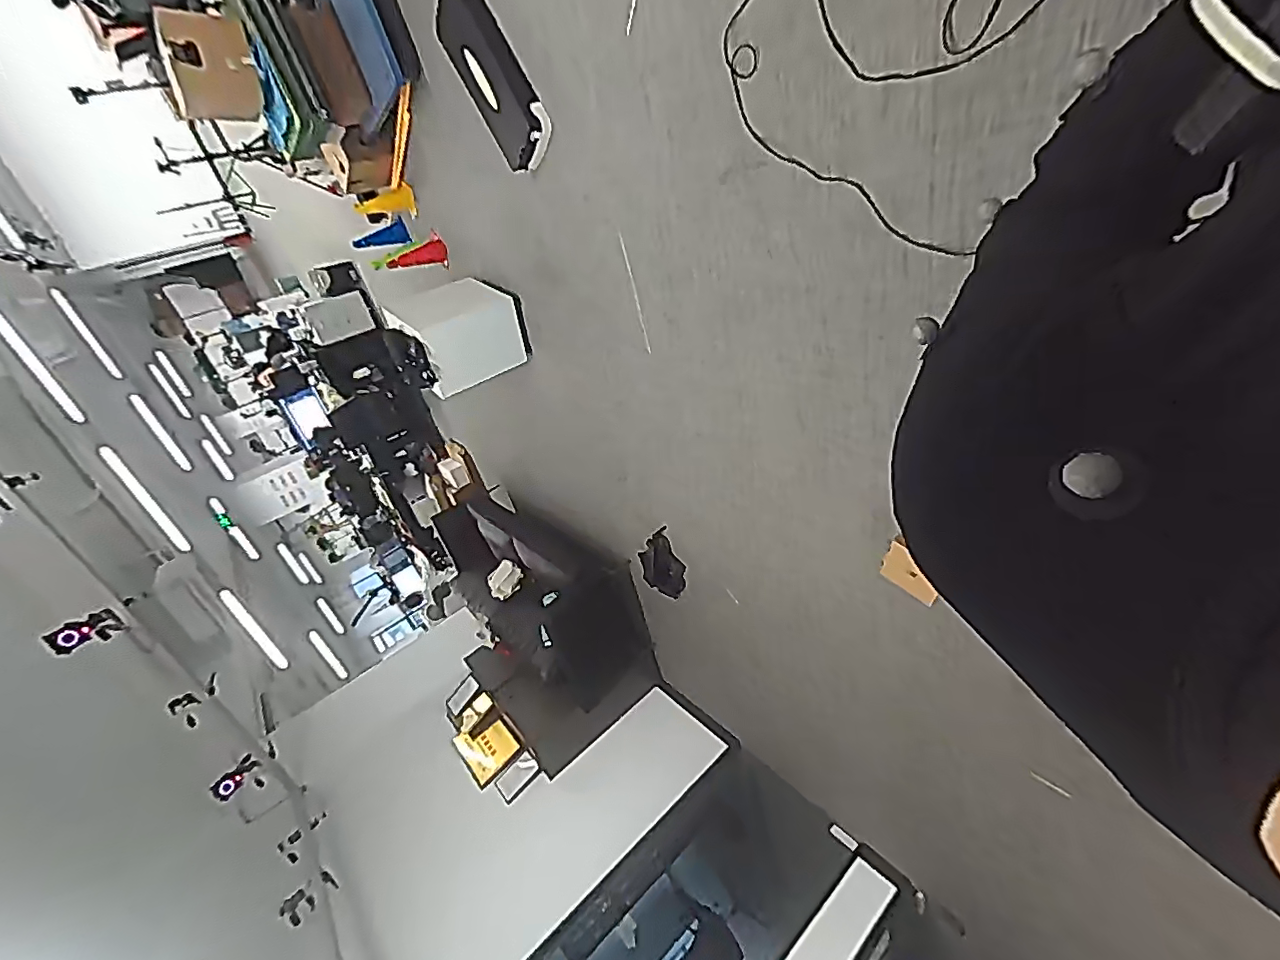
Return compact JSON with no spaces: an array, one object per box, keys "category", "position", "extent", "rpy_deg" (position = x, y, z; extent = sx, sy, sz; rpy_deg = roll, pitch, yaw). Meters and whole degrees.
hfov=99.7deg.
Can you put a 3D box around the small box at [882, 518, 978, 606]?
[{"category":"small box","position":[0.875,0.239,1.634],"extent":[0.179,0.176,0.168],"rpy_deg":[36,146,34]}]
